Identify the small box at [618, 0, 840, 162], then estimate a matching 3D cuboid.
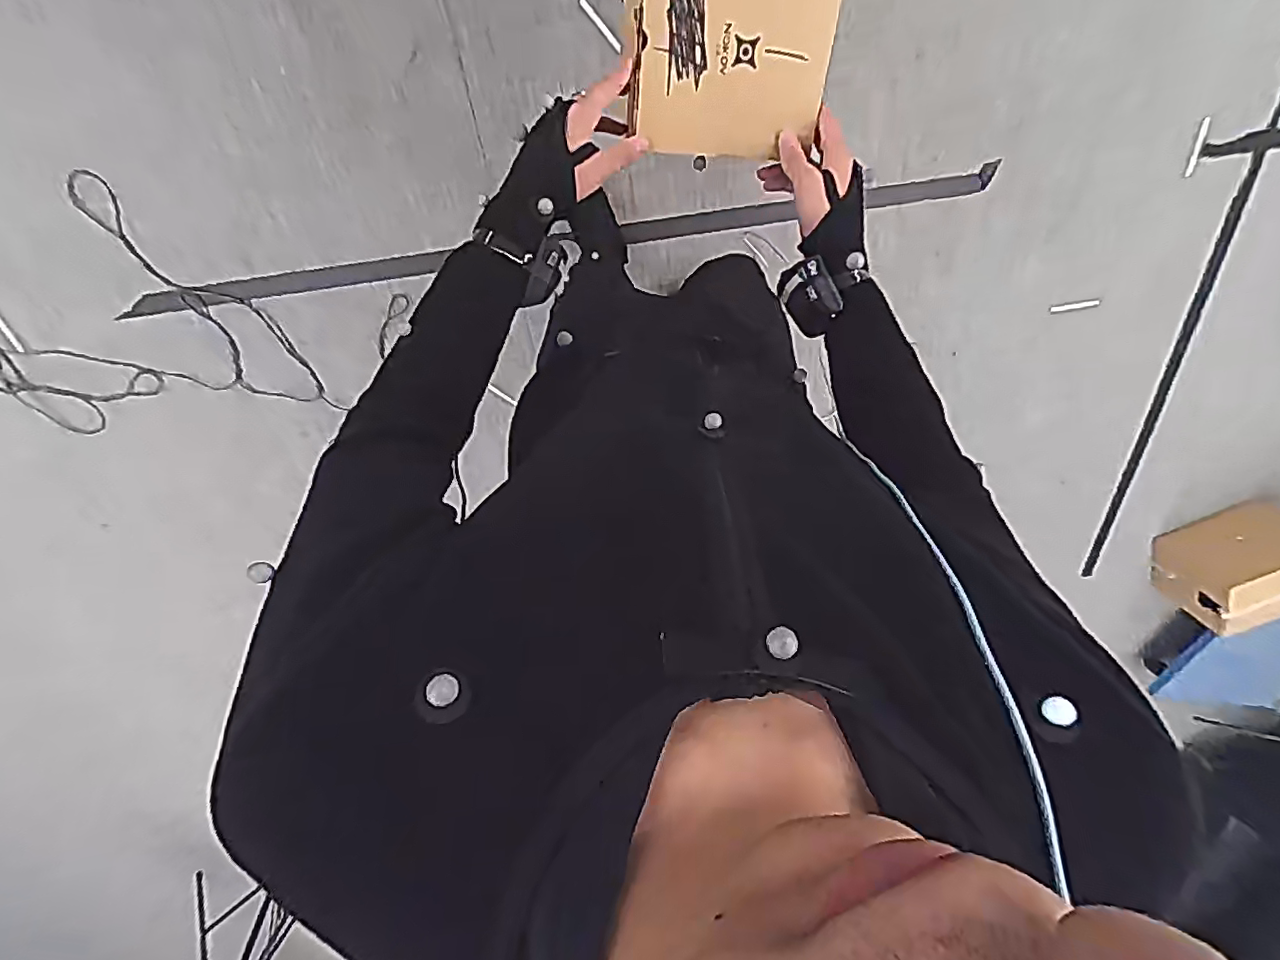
[{"bbox_3d":[0.072,-0.419,0.536,0.179,0.176,0.168,-1,123,-9],"label":"small box"}]
